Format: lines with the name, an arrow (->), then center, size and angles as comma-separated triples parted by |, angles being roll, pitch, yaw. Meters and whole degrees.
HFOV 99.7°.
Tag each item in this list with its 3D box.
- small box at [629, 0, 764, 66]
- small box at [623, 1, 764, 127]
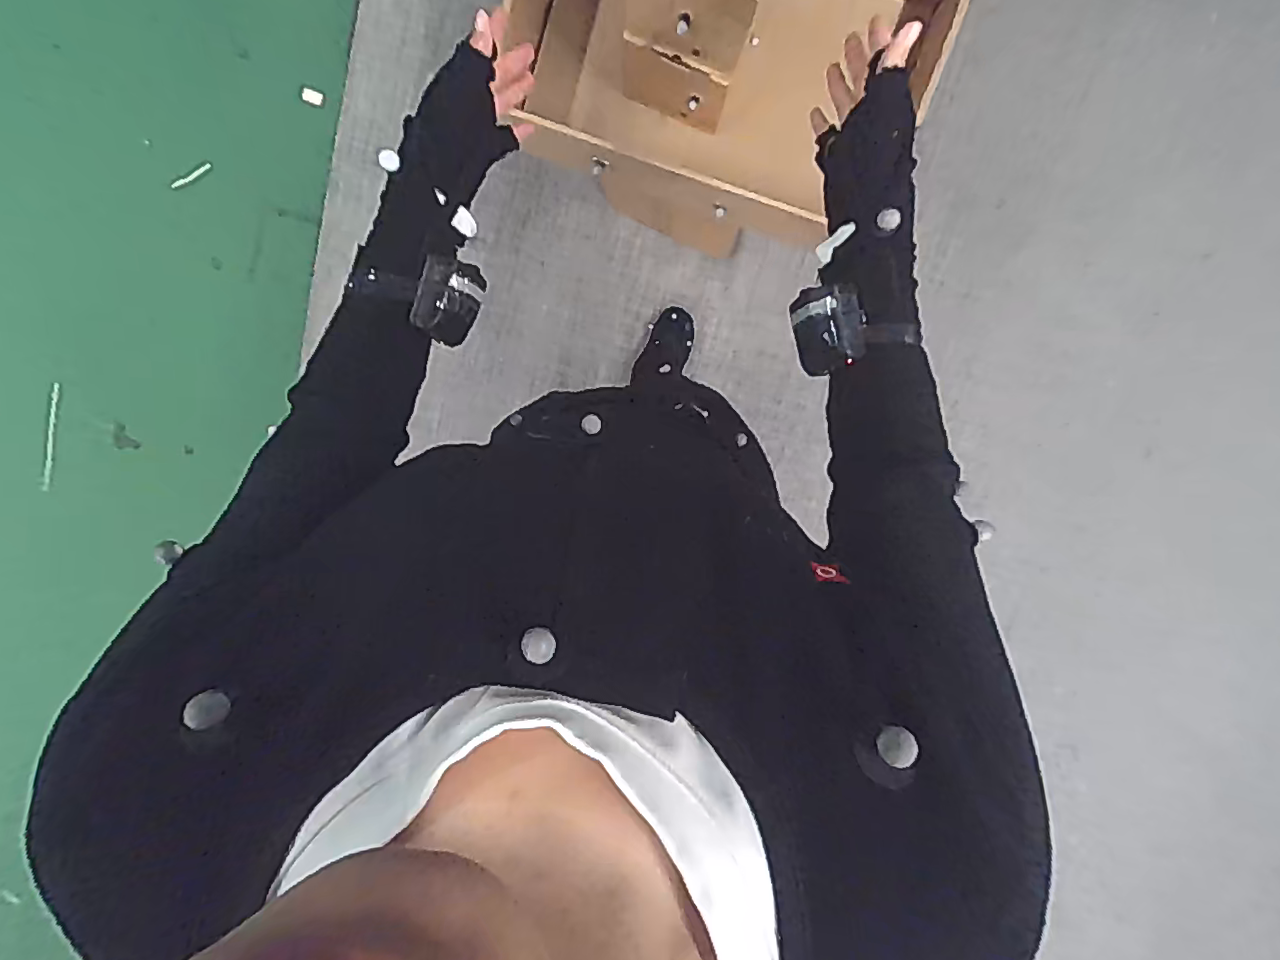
small box -> 0.087, -0.652, 0.649 | 0.168, 0.176, 0.179 | 20, 102, -5
small box -> 0.083, -0.677, 0.811 | 0.168, 0.176, 0.179 | 20, 99, -4
